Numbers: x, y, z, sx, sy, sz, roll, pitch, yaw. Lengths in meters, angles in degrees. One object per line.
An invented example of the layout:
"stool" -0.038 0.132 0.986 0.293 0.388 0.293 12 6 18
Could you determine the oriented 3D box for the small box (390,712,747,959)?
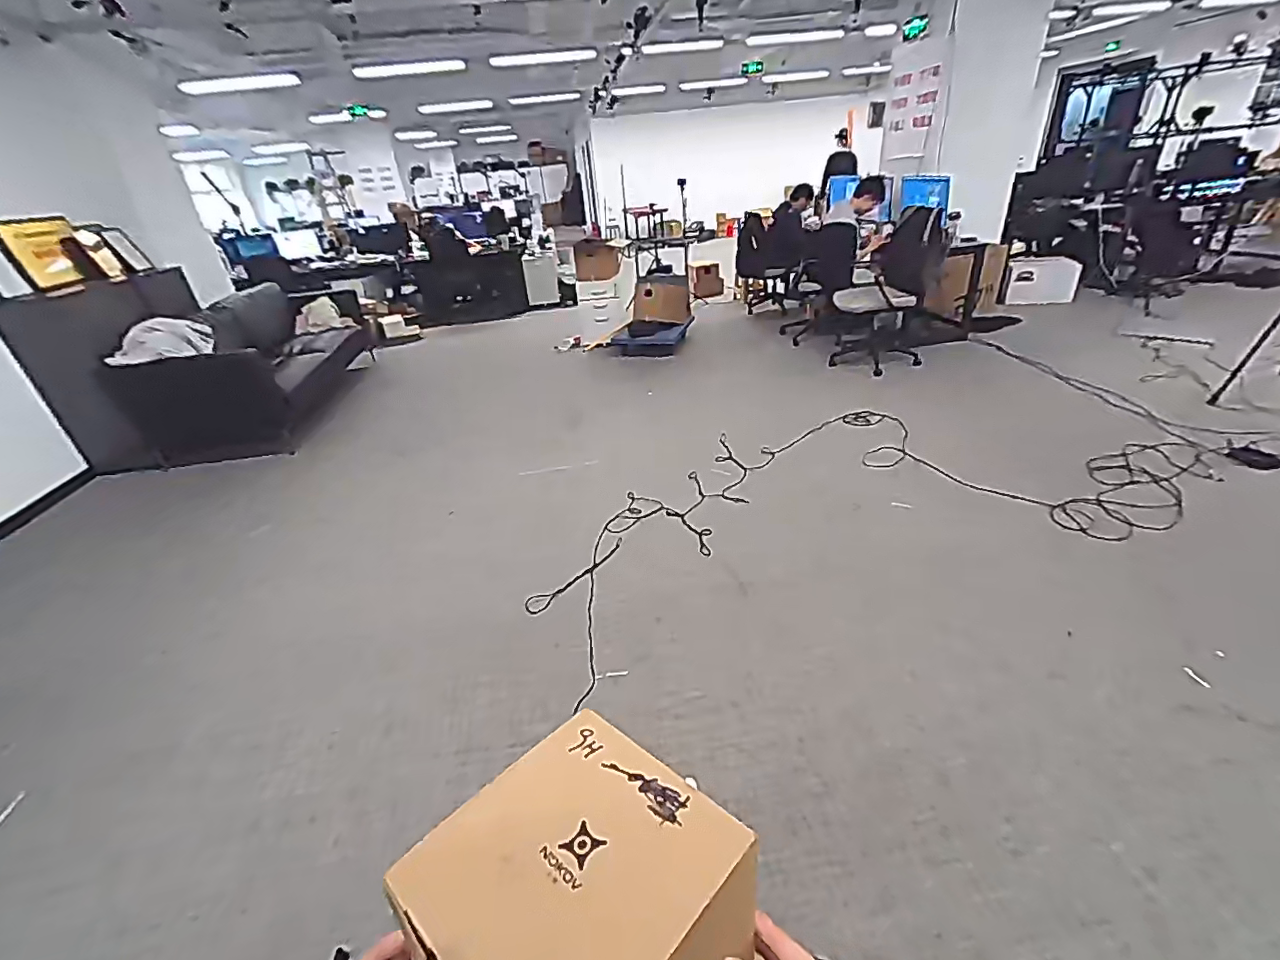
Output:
"small box" -0.037 0.314 0.378 0.168 0.176 0.179 18 32 40
